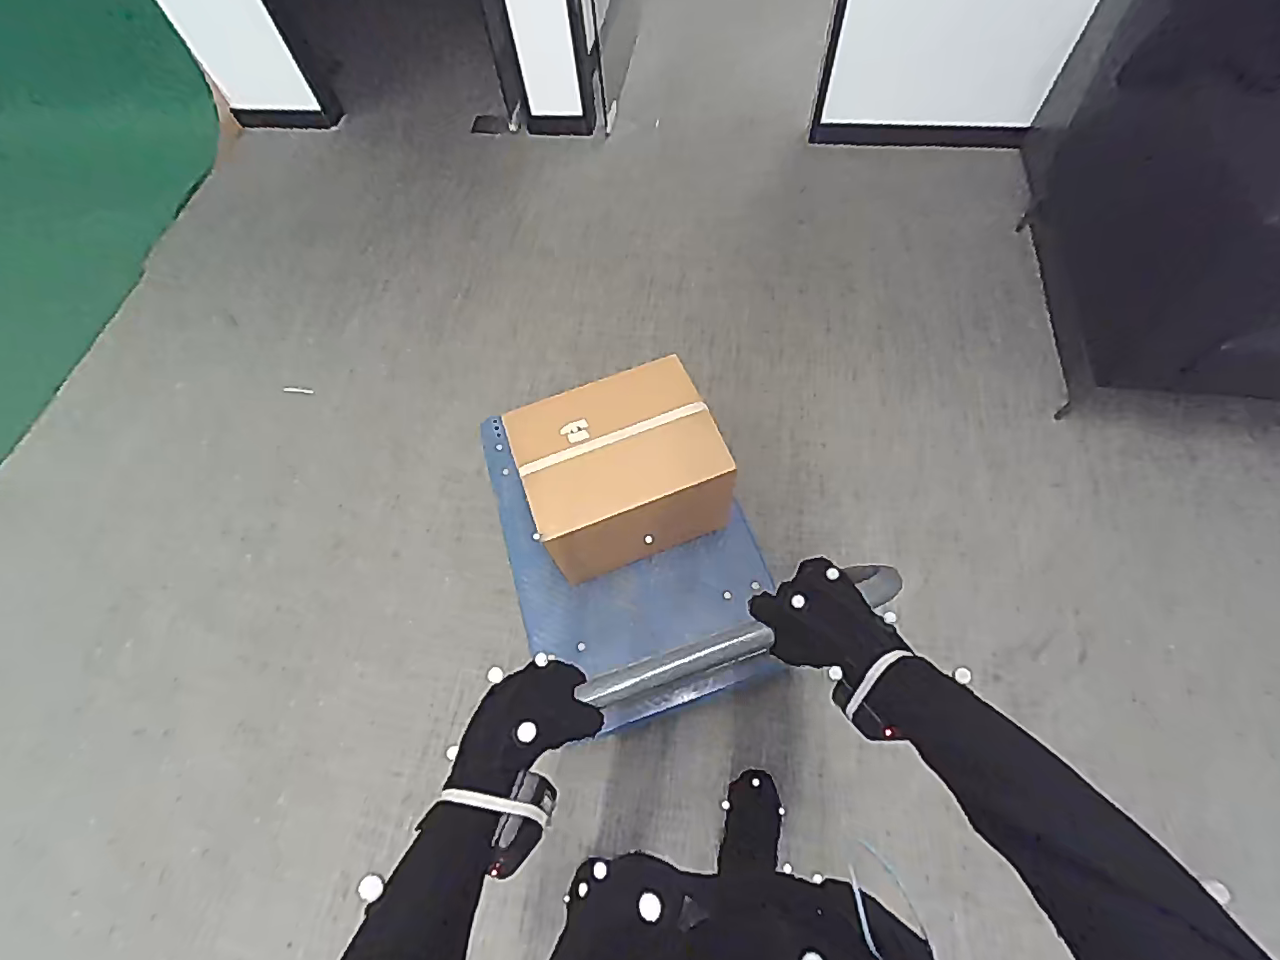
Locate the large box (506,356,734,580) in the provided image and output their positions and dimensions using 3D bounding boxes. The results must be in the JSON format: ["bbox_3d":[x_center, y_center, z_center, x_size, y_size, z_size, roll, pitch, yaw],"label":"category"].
[{"bbox_3d":[-0.038,-0.015,1.246,0.408,0.320,0.320,-22,64,-5],"label":"large box"}]
